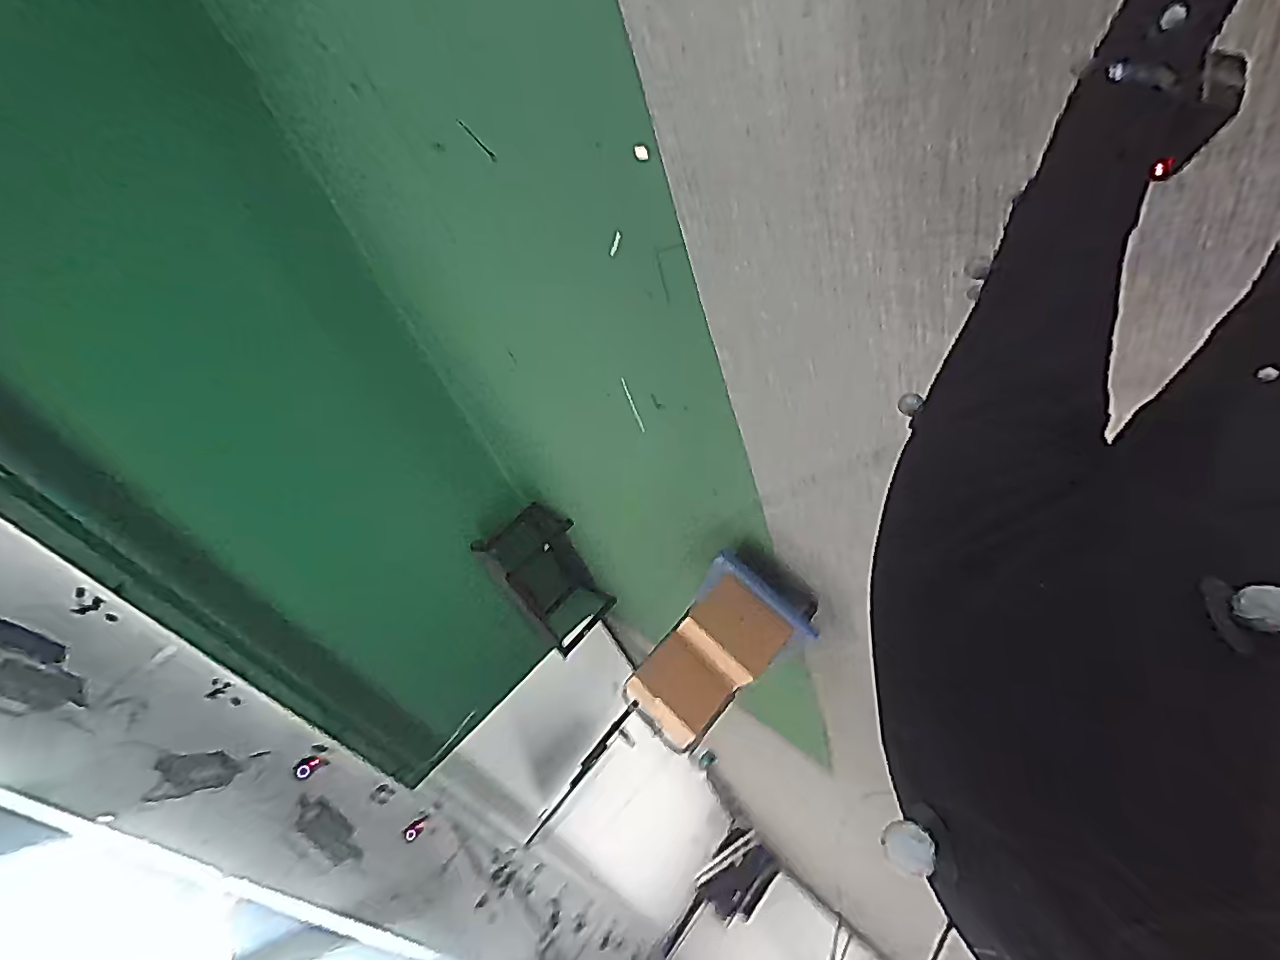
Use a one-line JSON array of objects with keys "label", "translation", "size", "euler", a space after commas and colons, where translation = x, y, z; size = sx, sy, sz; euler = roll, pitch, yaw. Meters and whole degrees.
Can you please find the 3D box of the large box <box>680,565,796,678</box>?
[{"label": "large box", "translation": [0.462, 0.684, 2.610], "size": [0.408, 0.320, 0.320], "euler": [41, 157, 13]}]
